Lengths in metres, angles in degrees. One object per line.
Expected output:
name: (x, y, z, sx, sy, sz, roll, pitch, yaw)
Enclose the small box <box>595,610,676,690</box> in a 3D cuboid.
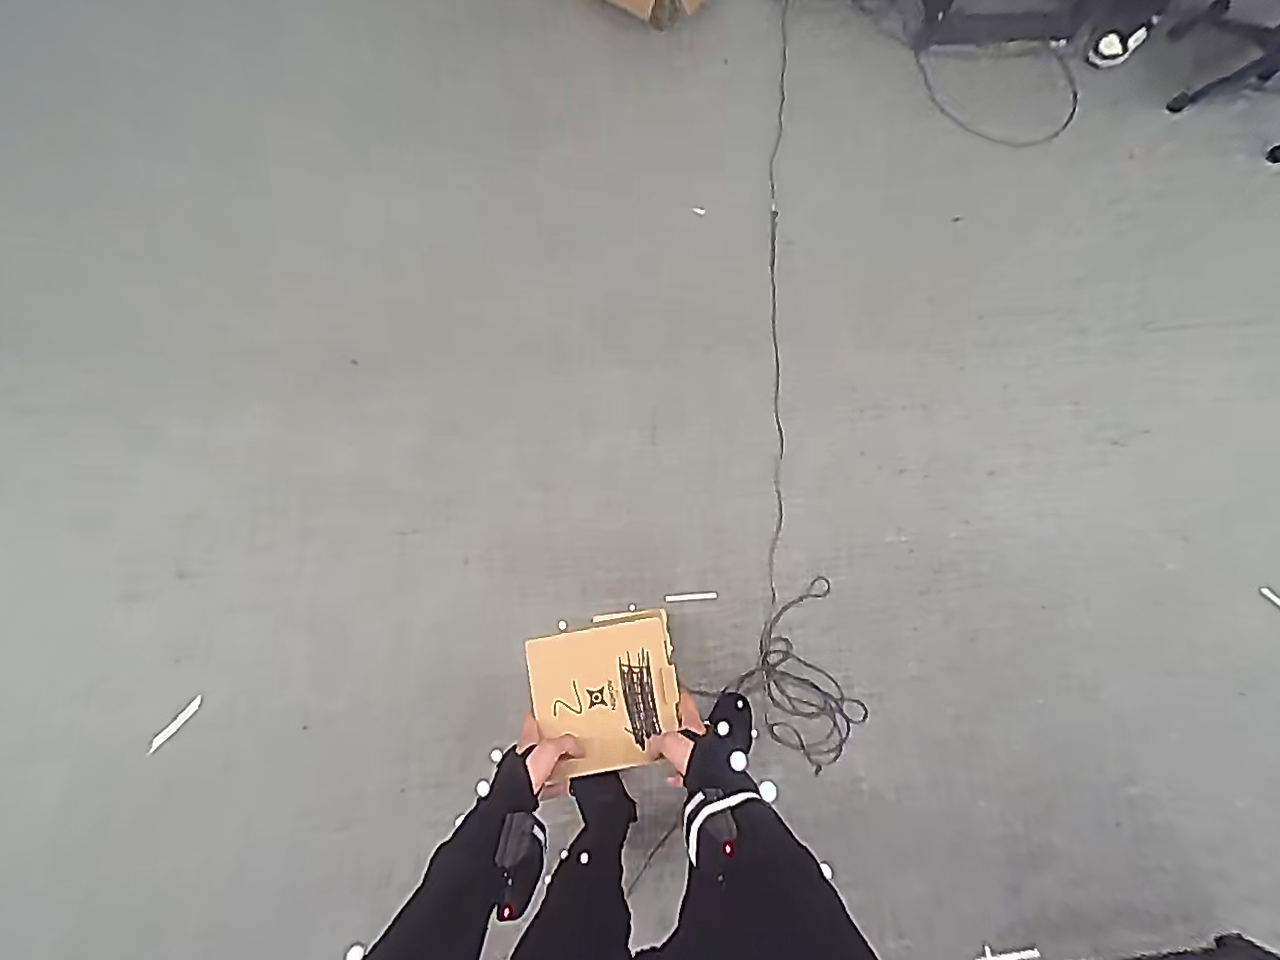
small box: (-0.010, 0.412, 1.318, 0.179, 0.176, 0.168, -6, 75, -2)
